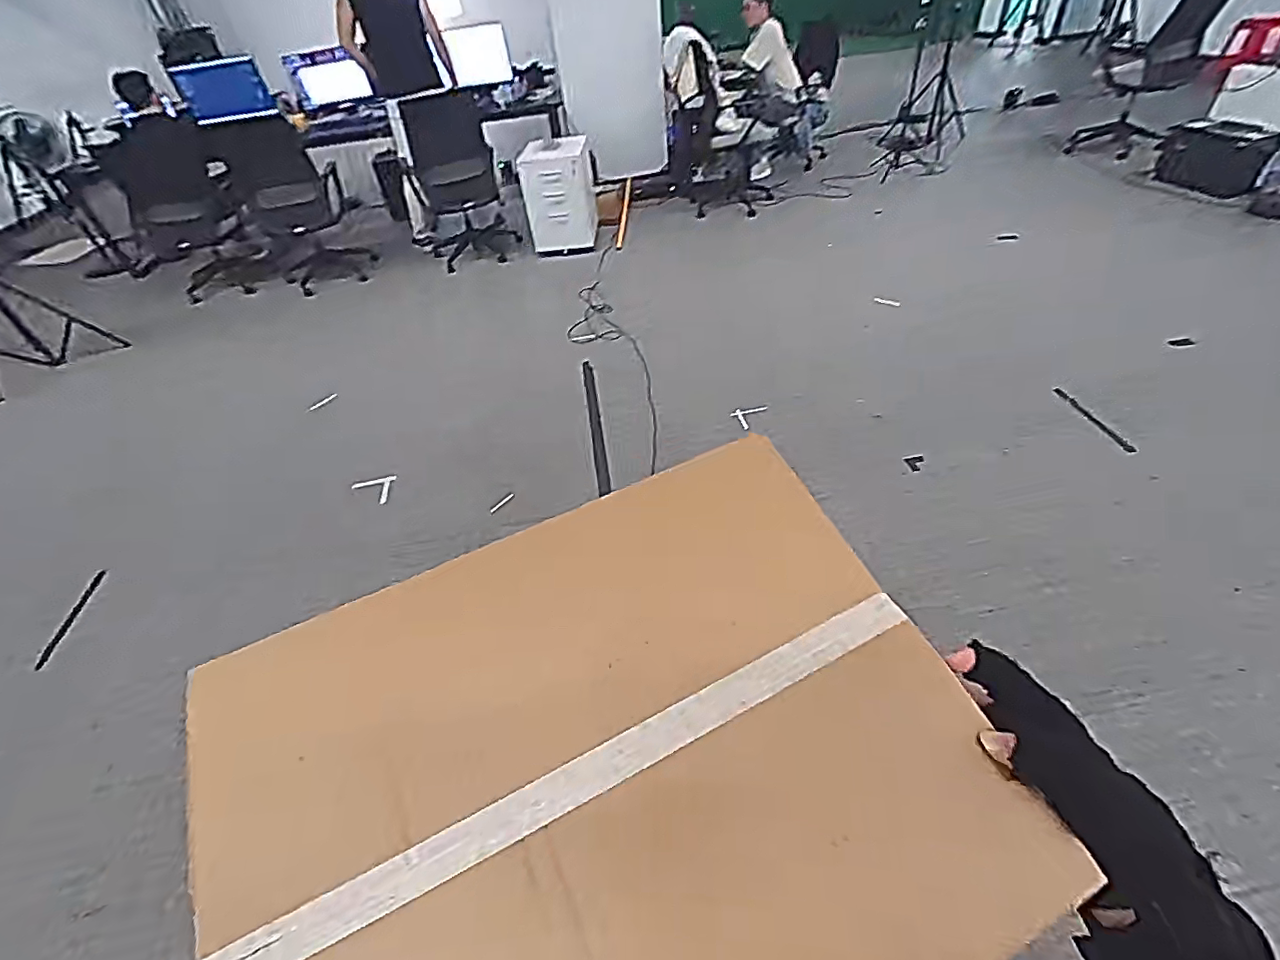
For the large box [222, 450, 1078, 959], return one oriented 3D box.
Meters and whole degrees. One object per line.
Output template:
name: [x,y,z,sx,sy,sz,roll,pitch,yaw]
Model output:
large box: [-0.010,0.243,0.431,0.408,0.320,0.320,-23,59,-12]
